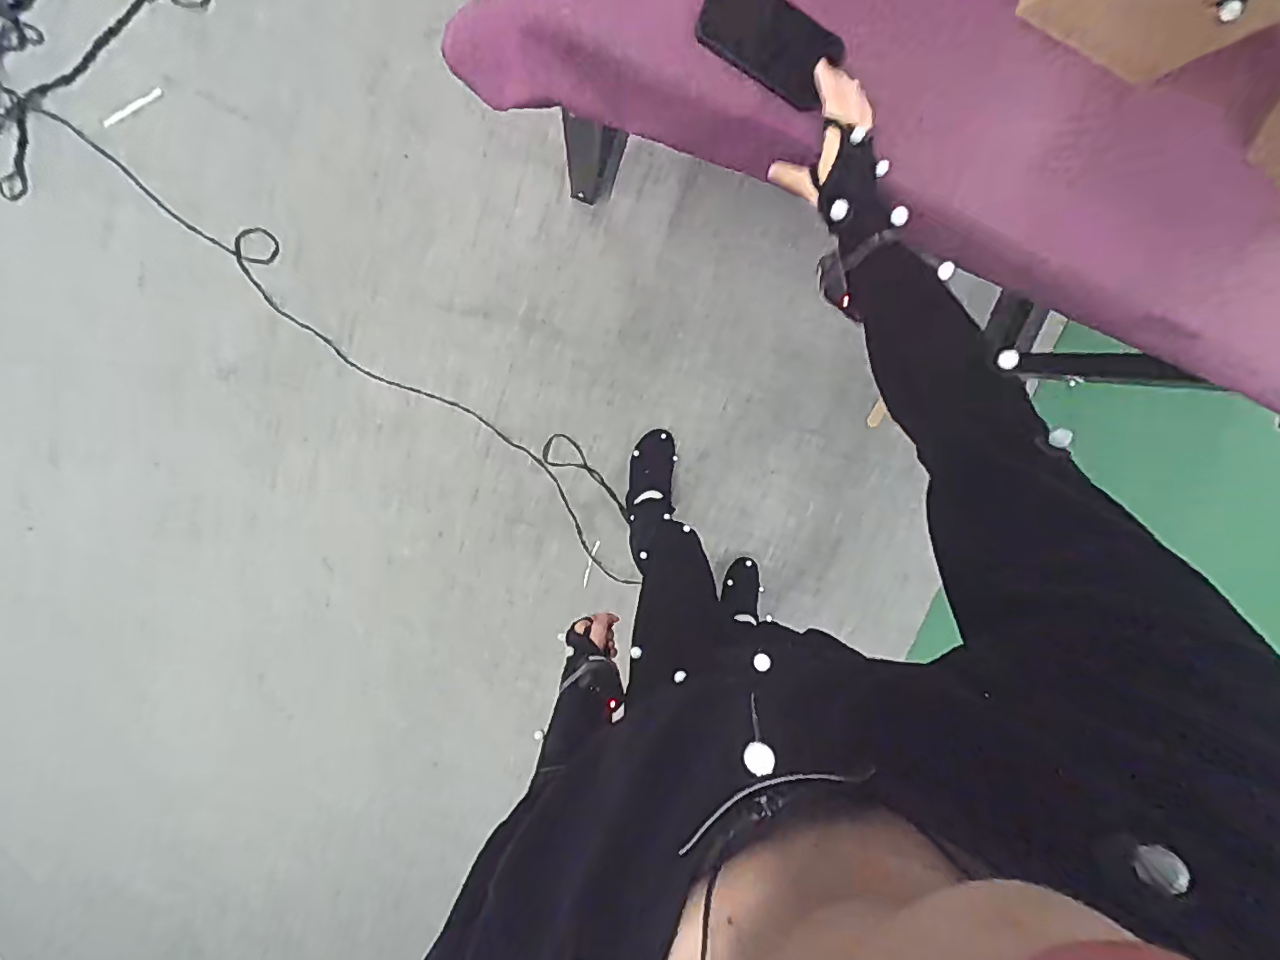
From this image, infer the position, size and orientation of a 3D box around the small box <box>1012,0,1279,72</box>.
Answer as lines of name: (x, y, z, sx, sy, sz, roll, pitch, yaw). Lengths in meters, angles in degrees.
small box: (0.508, -0.527, 0.500, 0.179, 0.176, 0.168, 20, 101, -10)
